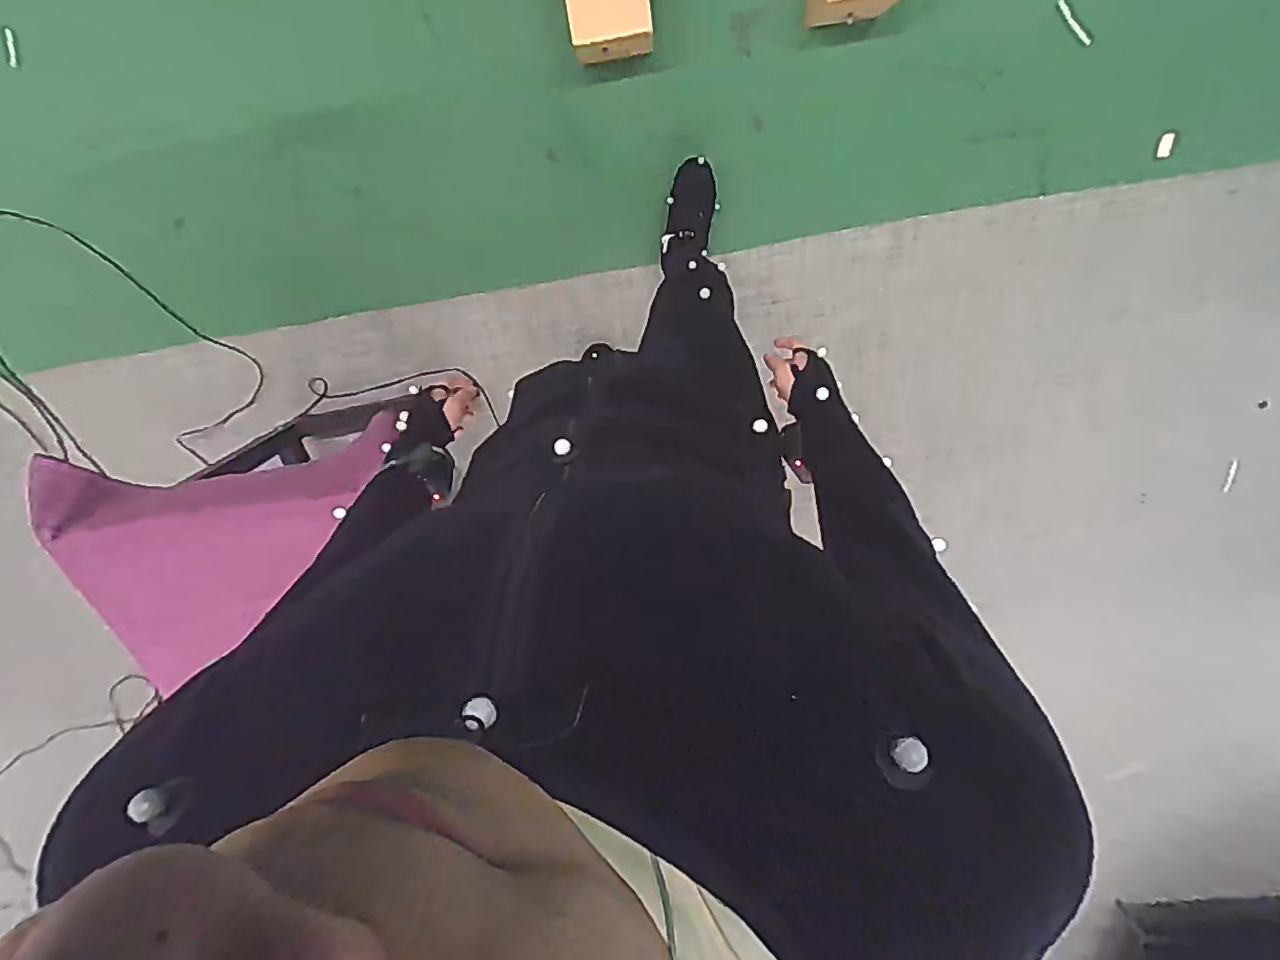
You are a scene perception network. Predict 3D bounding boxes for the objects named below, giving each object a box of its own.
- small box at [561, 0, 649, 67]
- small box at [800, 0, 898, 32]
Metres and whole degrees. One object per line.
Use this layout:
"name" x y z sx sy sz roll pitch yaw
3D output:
"small box" -0.073 -0.987 1.120 0.168 0.176 0.179 -8 115 4
"small box" 0.425 -1.046 1.088 0.168 0.176 0.179 -7 116 3
